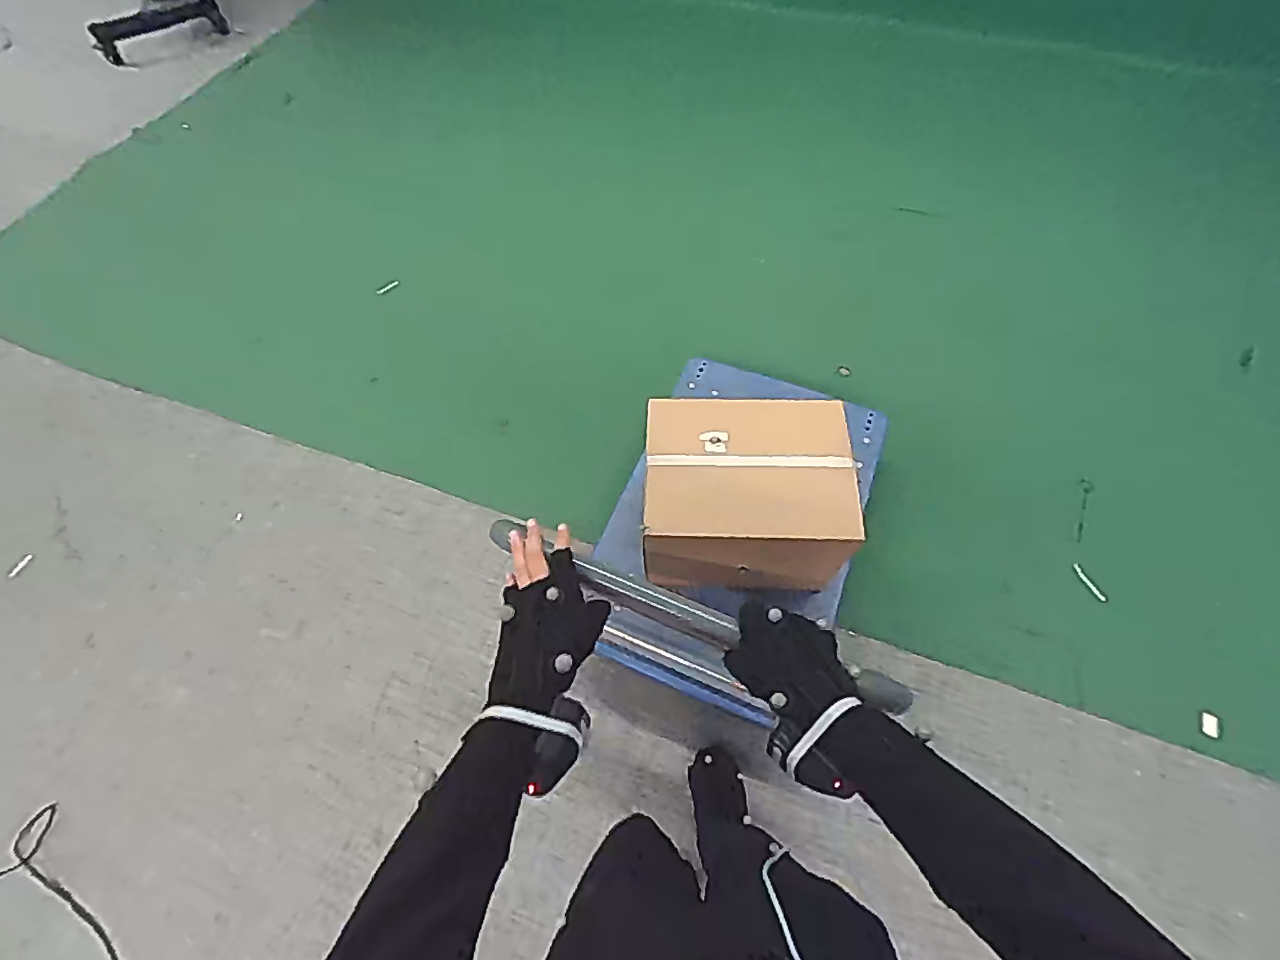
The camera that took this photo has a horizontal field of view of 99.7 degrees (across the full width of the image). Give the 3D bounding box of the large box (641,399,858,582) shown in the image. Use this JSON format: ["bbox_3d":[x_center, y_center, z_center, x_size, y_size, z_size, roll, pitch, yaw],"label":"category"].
[{"bbox_3d":[0.216,0.034,1.193,0.408,0.320,0.320,1,62,4],"label":"large box"}]
